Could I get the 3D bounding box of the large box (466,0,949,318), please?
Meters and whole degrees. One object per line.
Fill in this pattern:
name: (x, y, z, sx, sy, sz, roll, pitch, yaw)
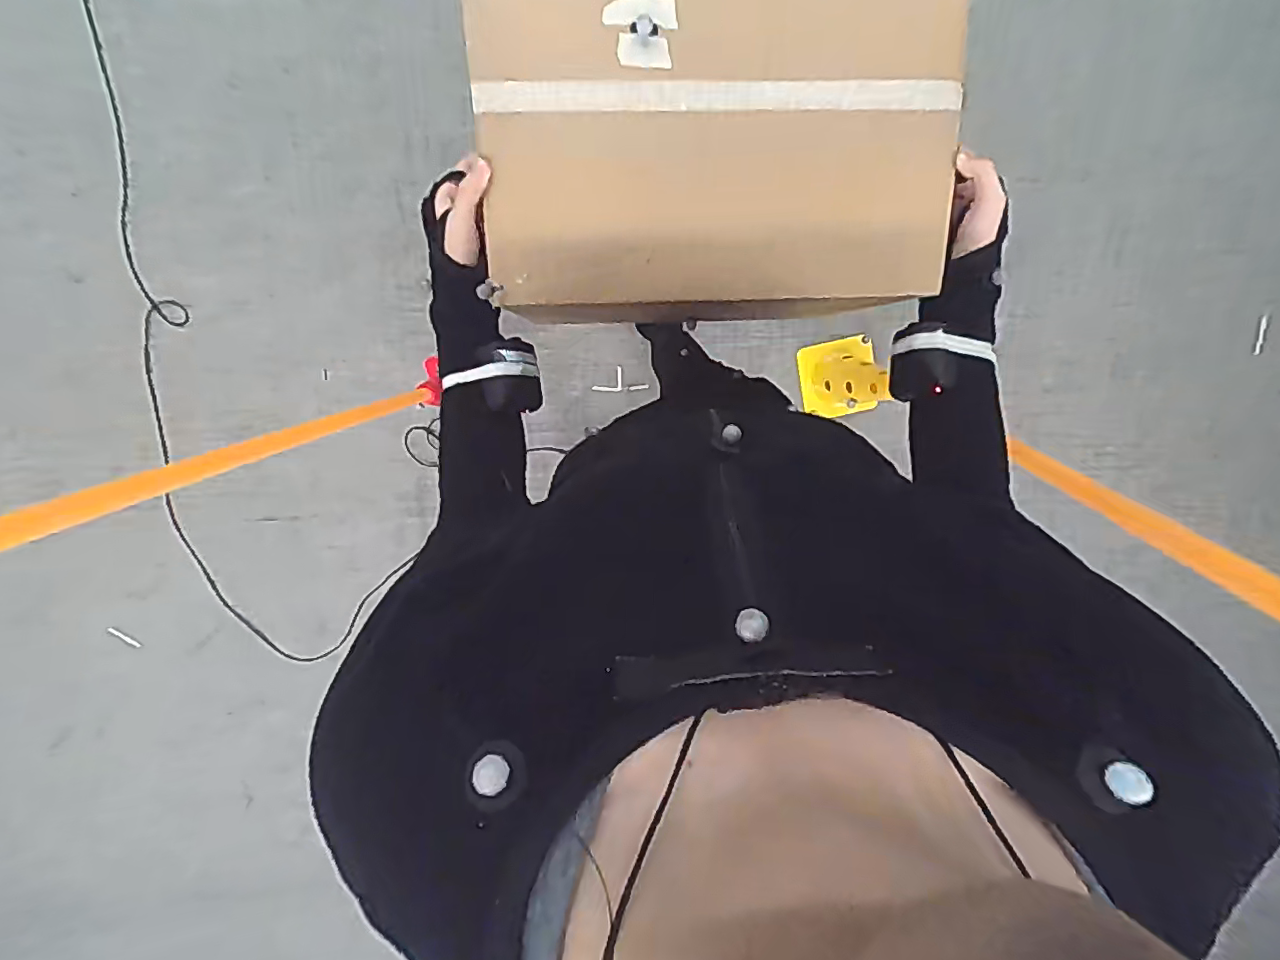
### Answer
large box: (0.053, -0.354, 0.600, 0.408, 0.320, 0.320, -3, 103, -3)
